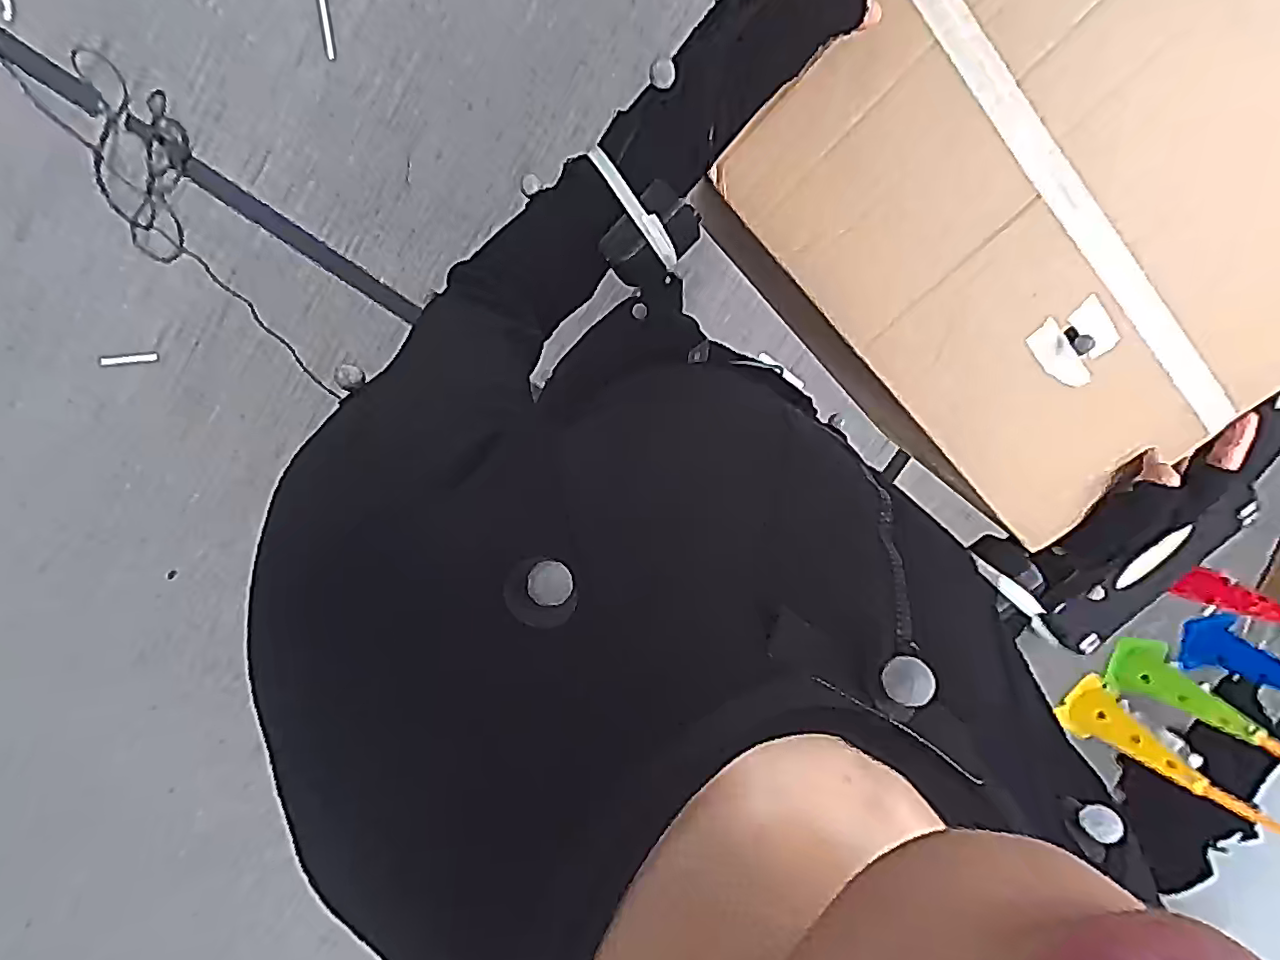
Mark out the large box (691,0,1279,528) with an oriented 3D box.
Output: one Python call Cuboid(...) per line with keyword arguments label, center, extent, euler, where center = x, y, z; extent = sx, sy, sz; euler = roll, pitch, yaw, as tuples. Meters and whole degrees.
Cuboid(label="large box", center=(0.298, -0.240, 0.511), extent=(0.408, 0.320, 0.320), euler=(43, 109, -15))
